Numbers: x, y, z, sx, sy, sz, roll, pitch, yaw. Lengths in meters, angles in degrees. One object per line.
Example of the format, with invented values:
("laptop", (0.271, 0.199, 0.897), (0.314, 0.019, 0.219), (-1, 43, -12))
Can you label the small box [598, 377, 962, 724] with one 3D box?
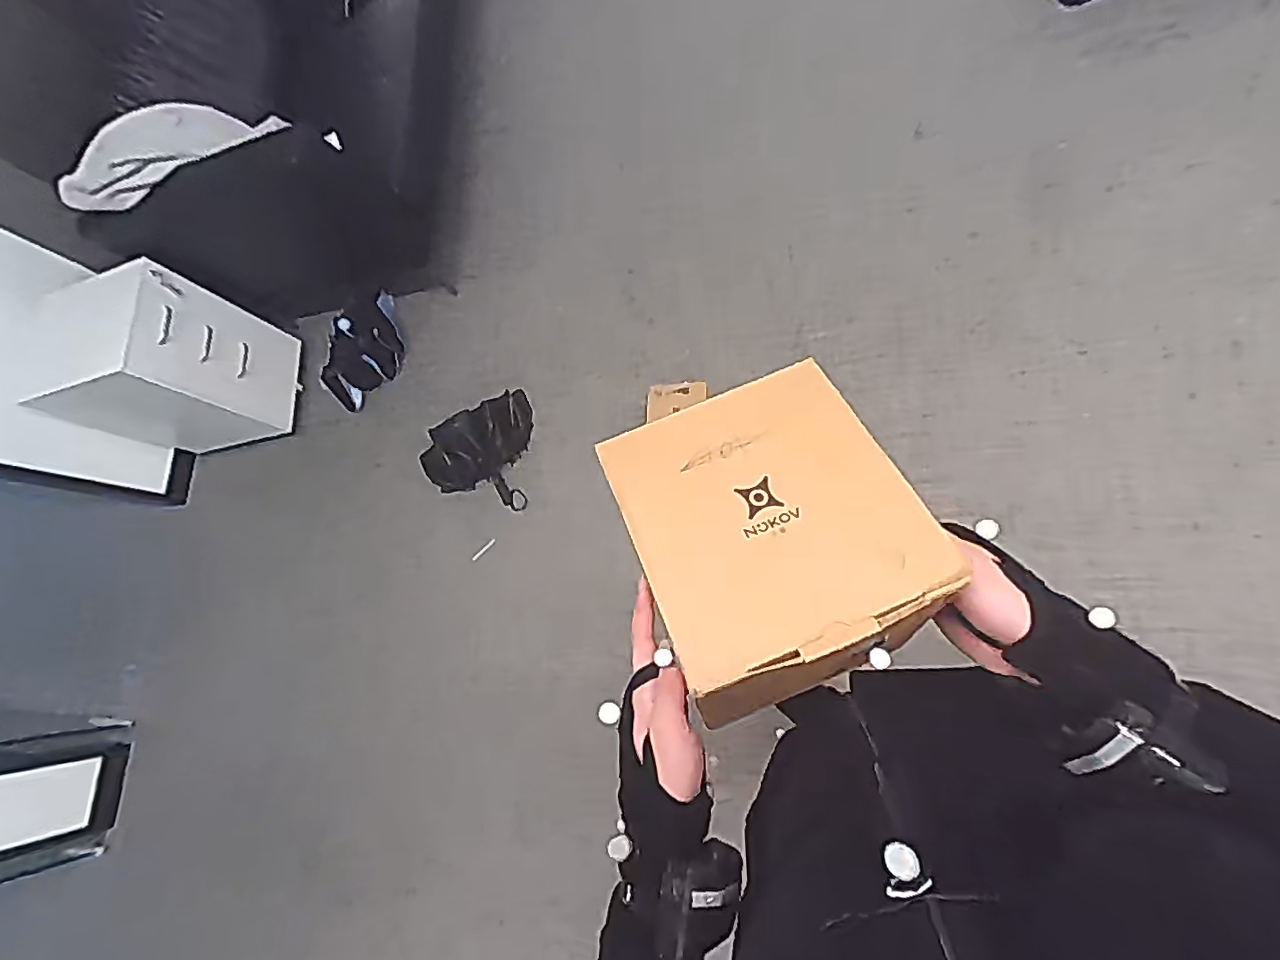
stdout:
("small box", (0.086, 0.063, 0.400), (0.168, 0.176, 0.179), (-22, 57, -4))
